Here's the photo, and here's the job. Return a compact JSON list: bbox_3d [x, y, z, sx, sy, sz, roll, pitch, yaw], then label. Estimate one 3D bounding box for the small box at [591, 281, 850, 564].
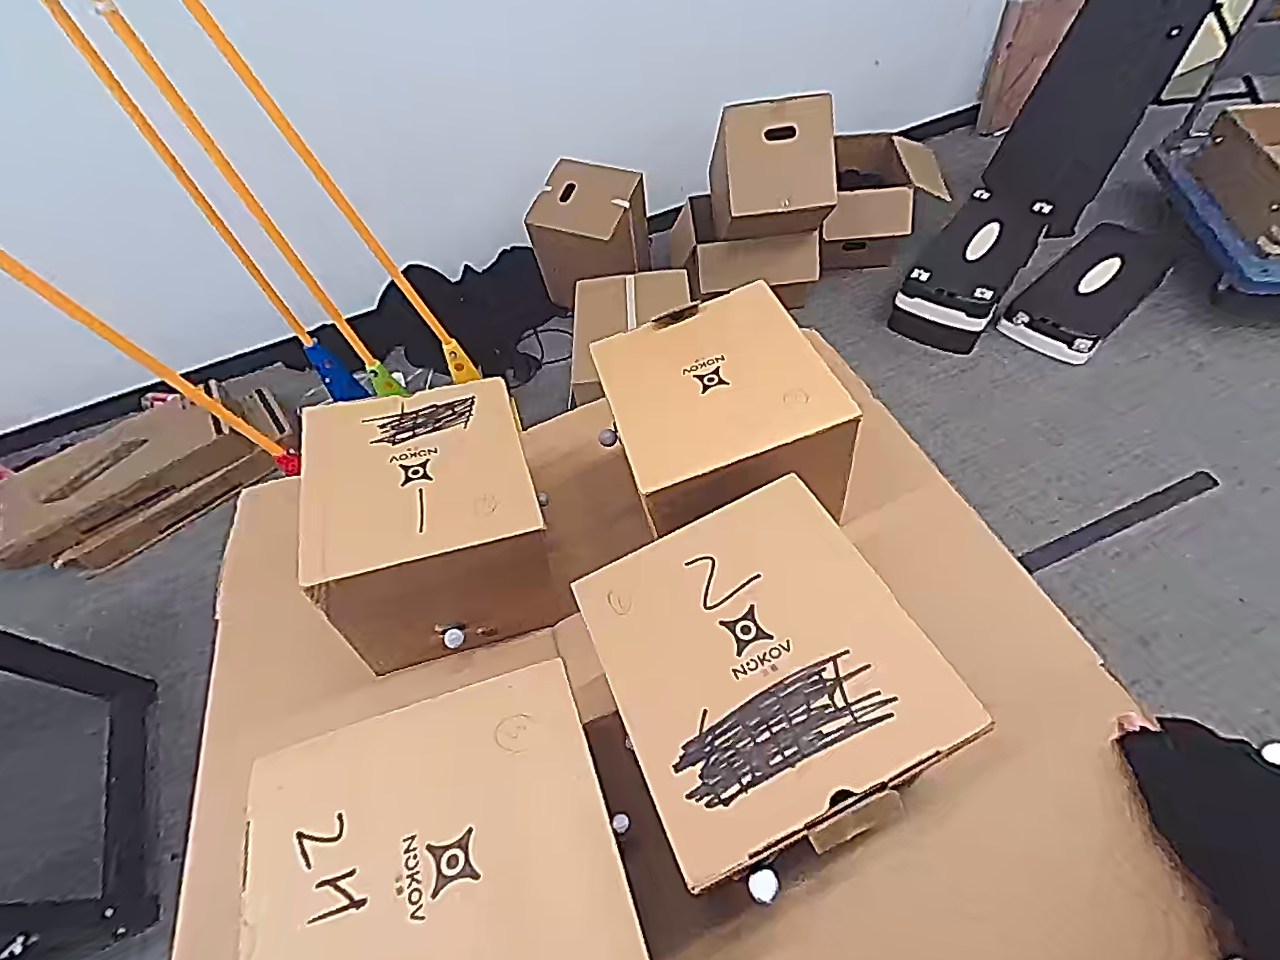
[{"bbox_3d":[0.071,-0.042,0.498,0.168,0.176,0.179,-20,52,0],"label":"small box"}]
